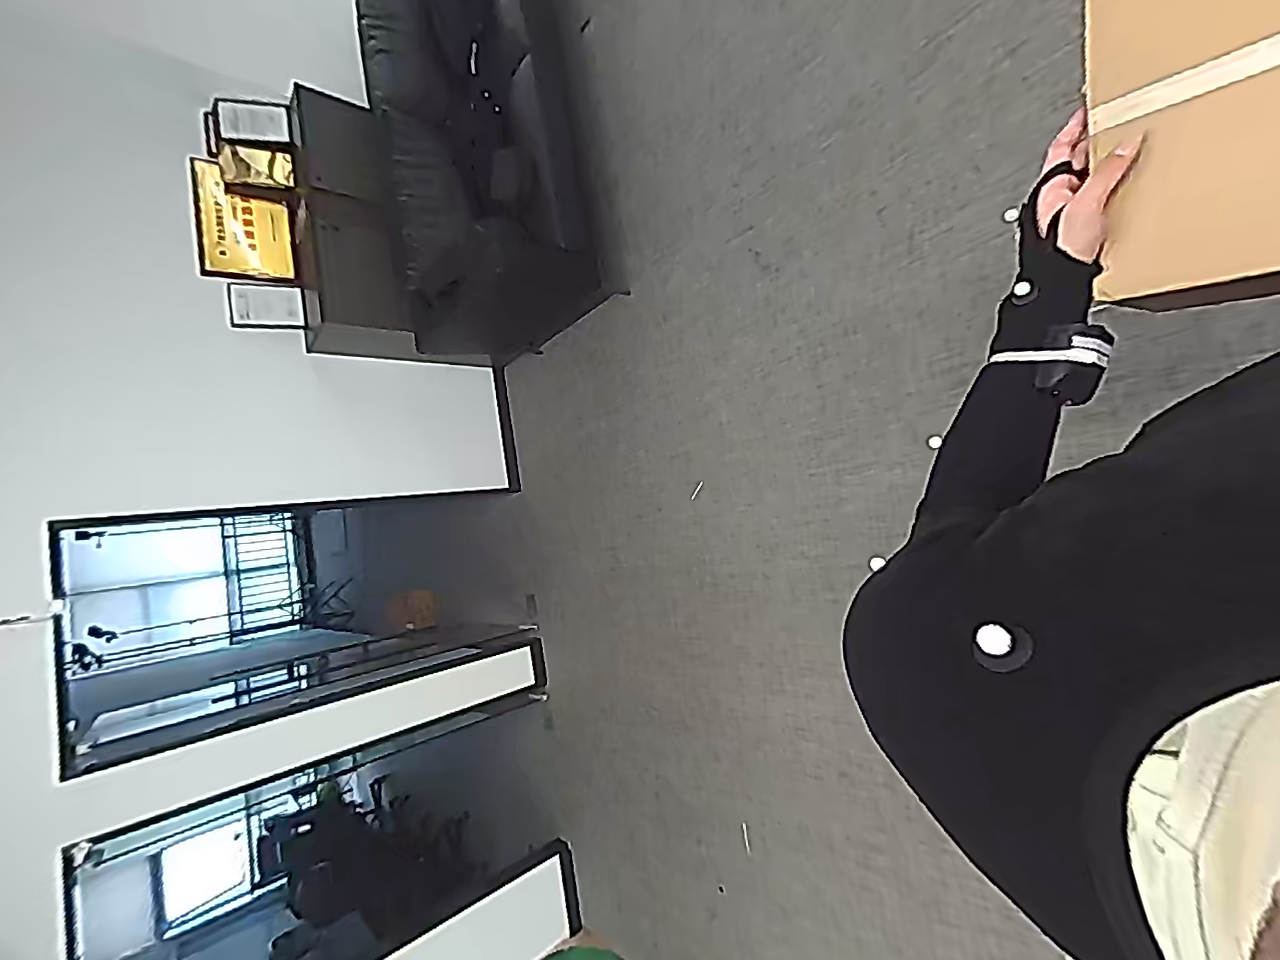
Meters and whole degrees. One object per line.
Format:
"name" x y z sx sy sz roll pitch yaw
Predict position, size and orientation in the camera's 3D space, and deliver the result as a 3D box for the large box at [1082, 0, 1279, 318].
"large box" 0.648 -0.337 0.436 0.408 0.320 0.320 0 99 50
